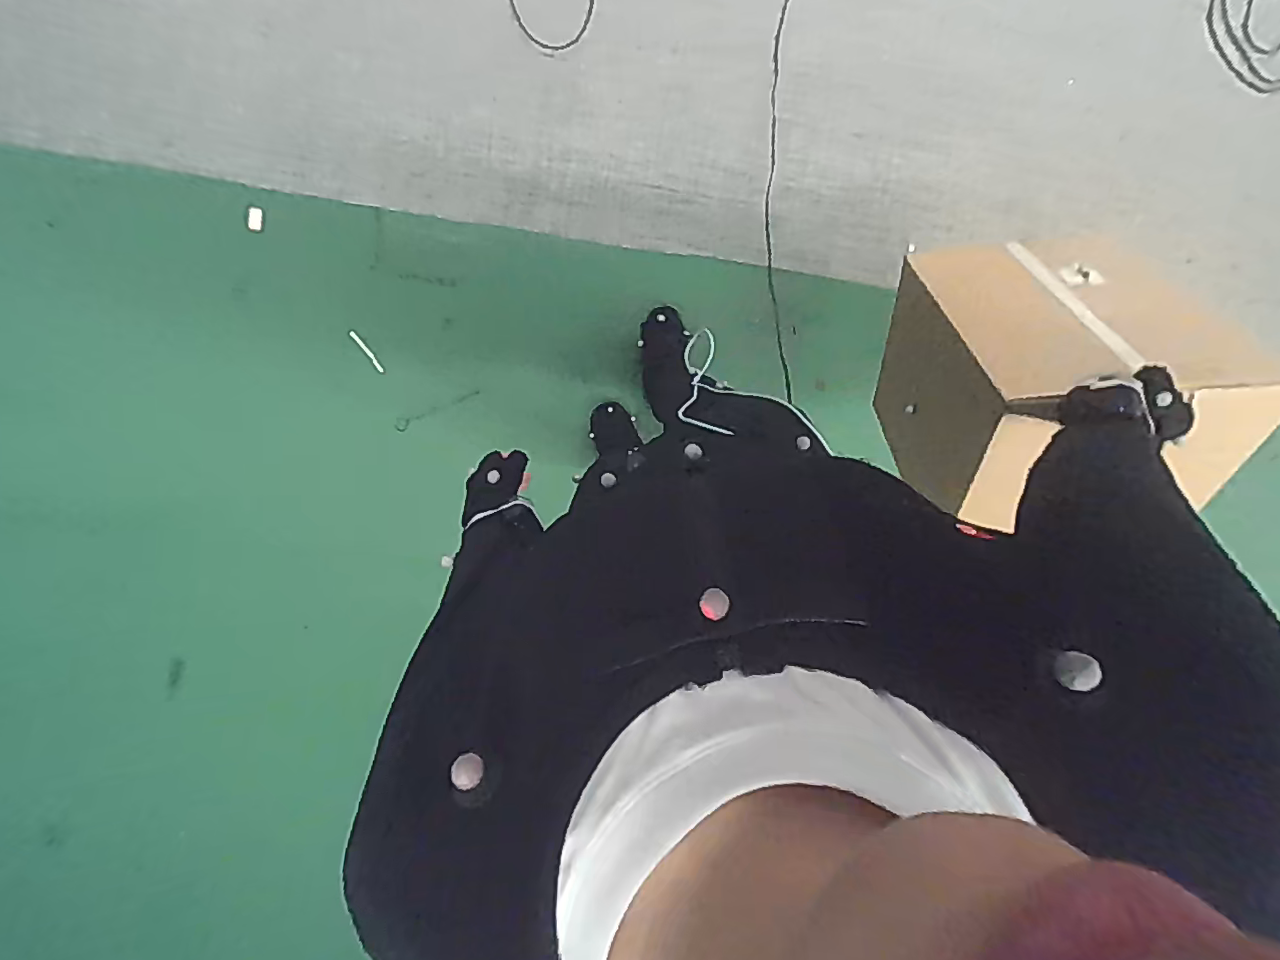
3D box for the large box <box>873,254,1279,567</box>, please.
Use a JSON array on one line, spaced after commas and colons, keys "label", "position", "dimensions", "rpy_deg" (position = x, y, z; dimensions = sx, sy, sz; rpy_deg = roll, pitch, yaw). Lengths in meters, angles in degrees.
[{"label": "large box", "position": [0.598, -0.114, 0.857], "dimensions": [0.320, 0.408, 0.320], "rpy_deg": [-2, 134, 7]}]
